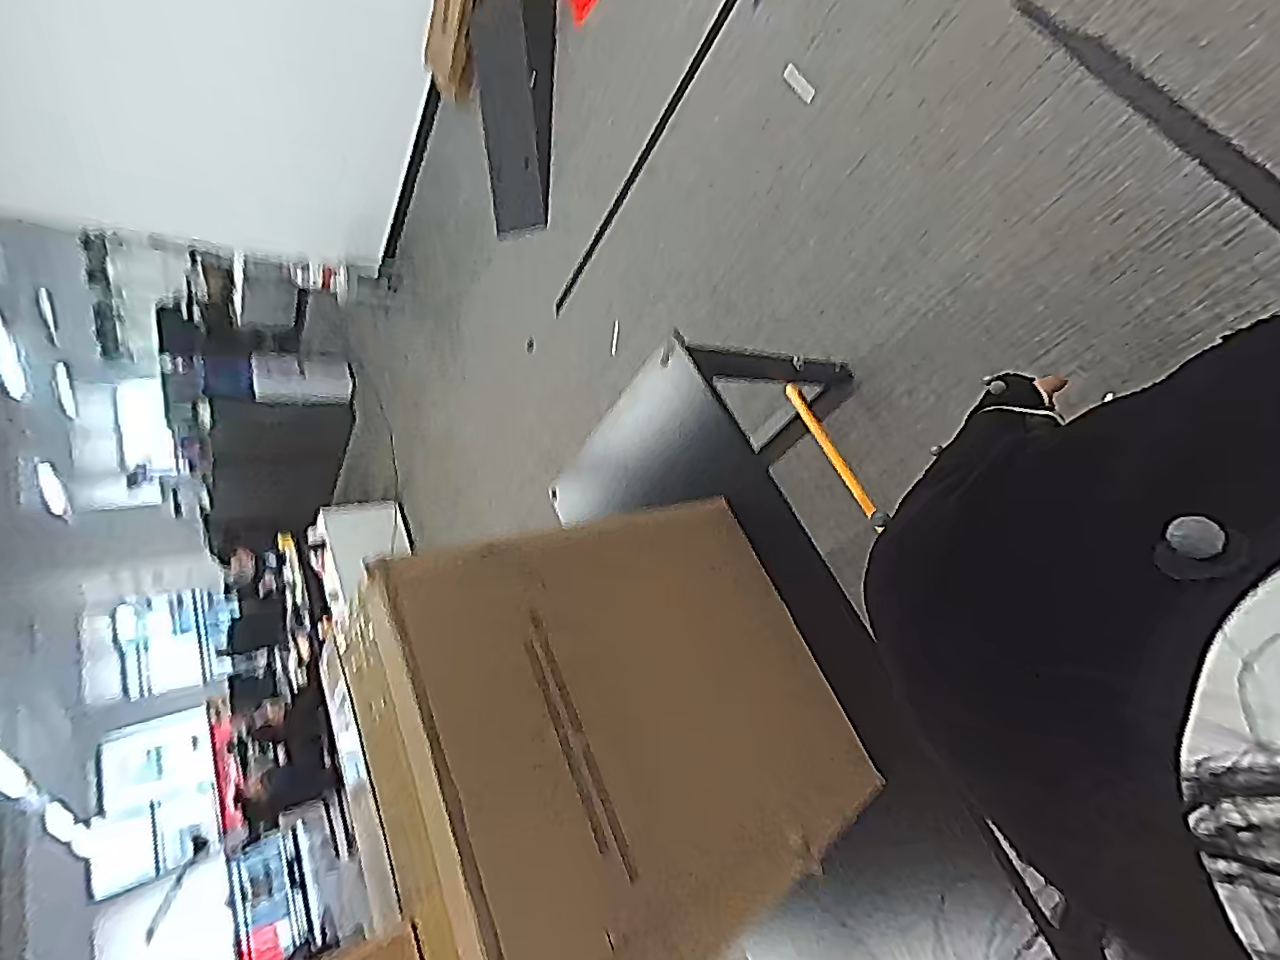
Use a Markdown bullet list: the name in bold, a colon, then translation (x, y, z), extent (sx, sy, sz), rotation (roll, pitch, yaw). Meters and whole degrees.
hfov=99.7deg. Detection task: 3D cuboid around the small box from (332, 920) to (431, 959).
- **small box**: translation (-0.300, 0.586, 0.546), extent (0.179, 0.176, 0.168), rotation (-52, 57, 40)
